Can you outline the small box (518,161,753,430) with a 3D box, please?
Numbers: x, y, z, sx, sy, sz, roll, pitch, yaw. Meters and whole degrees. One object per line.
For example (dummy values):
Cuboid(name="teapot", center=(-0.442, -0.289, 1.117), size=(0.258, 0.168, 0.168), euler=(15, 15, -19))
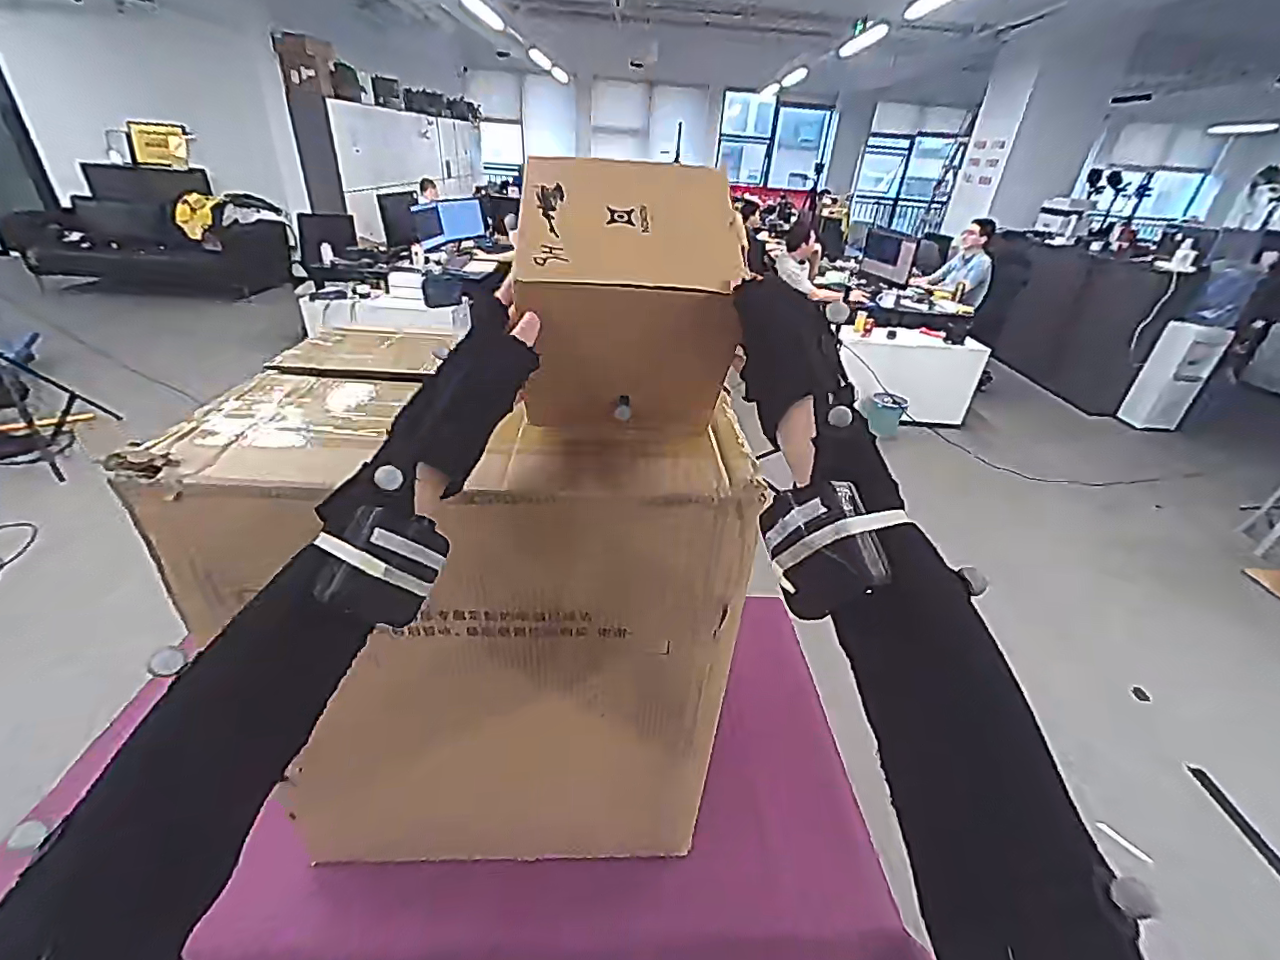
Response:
Cuboid(name="small box", center=(-0.013, -0.160, 0.501), size=(0.179, 0.176, 0.168), euler=(1, 56, -7))
